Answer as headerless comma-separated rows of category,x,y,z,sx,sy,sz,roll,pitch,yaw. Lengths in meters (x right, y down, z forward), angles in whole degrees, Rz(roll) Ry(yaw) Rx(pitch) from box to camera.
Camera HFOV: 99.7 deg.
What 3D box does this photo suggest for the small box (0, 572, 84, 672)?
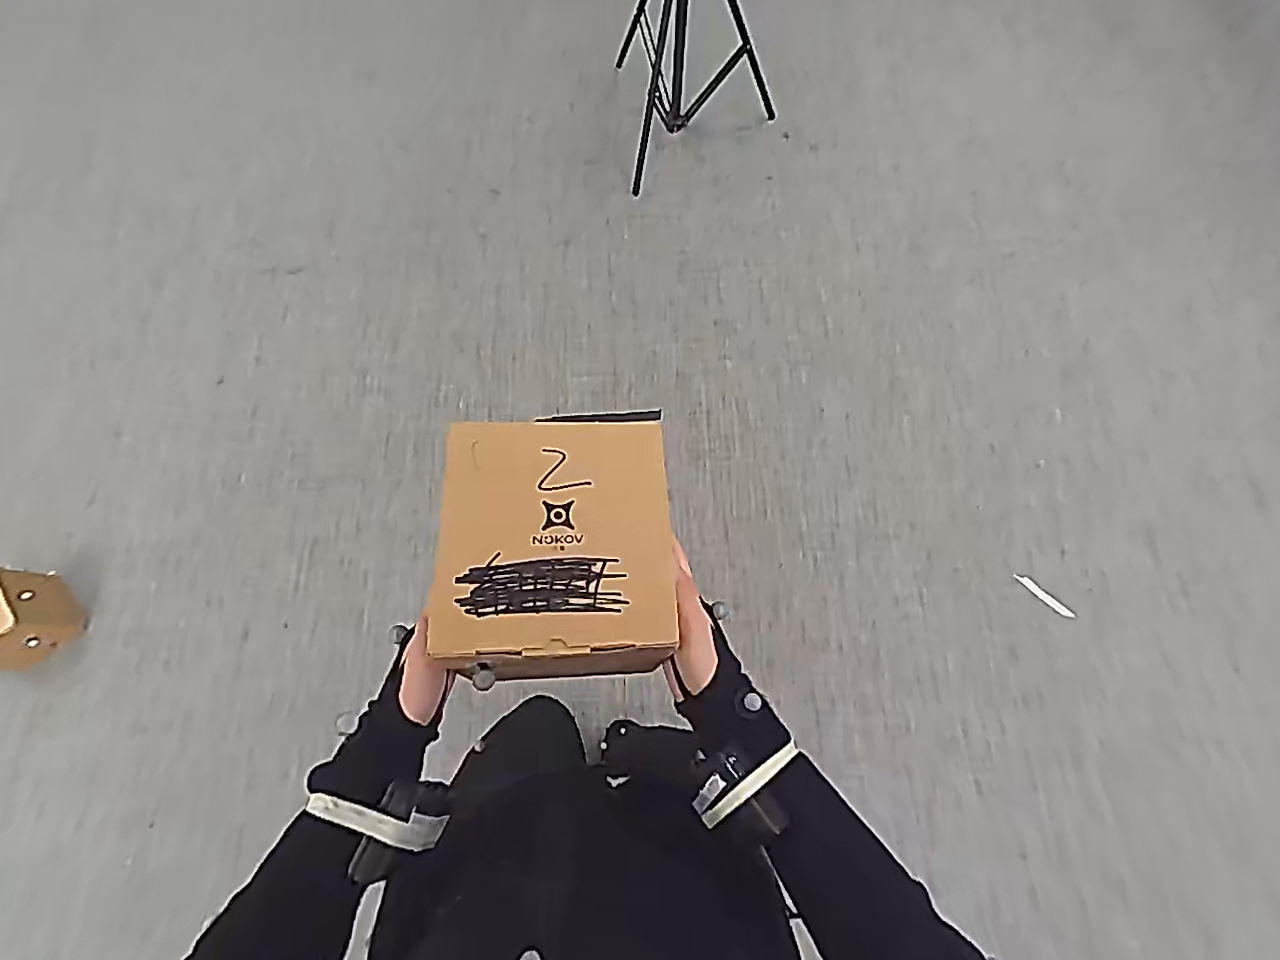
small box,-1.506,0.342,1.291,0.168,0.176,0.179,-38,74,-13
